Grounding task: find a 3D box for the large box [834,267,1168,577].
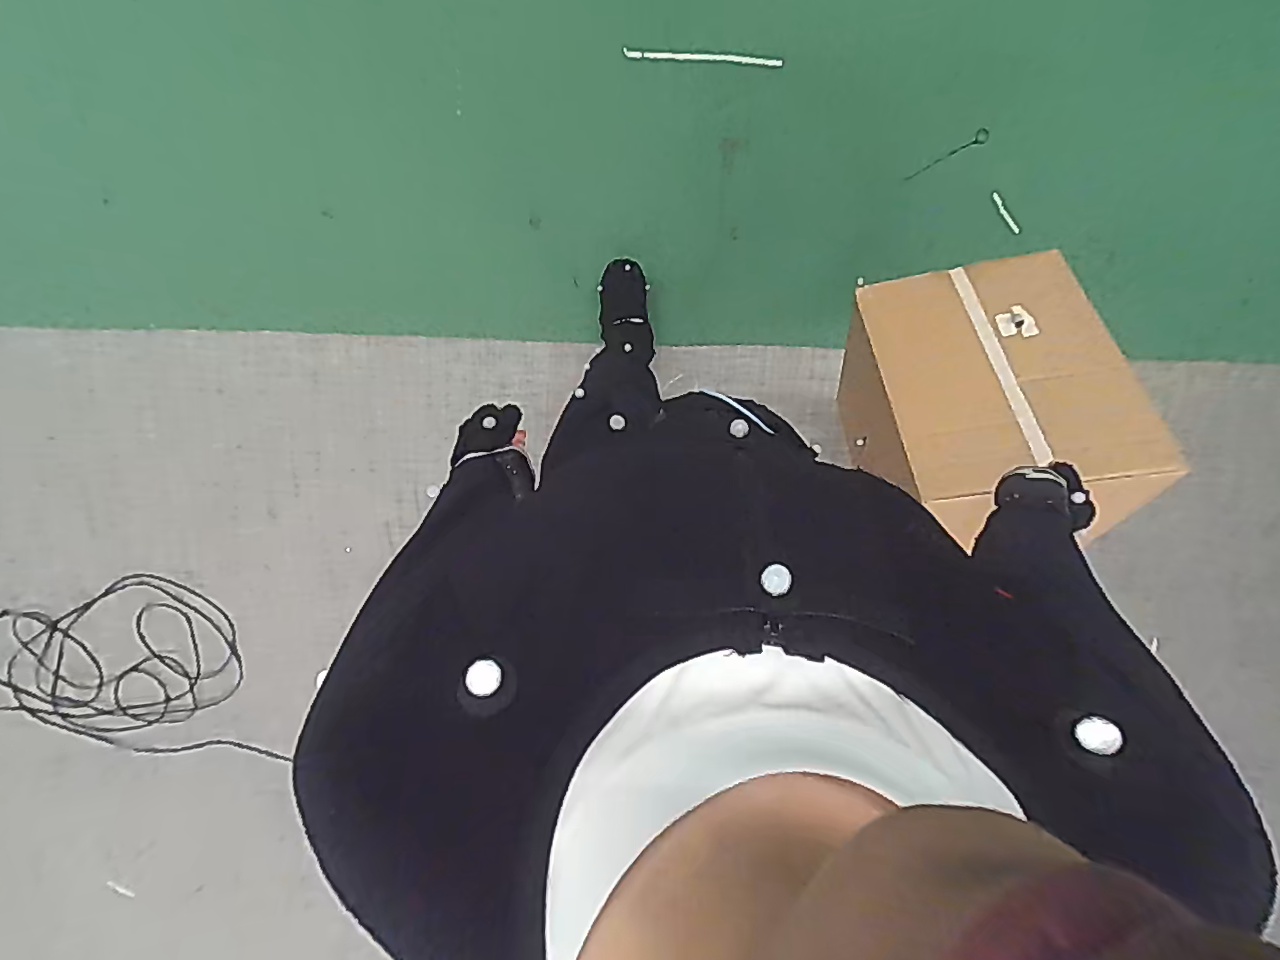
[{"bbox_3d":[0.545,-0.085,0.931,0.320,0.320,0.408,-7,59,9],"label":"large box"}]
